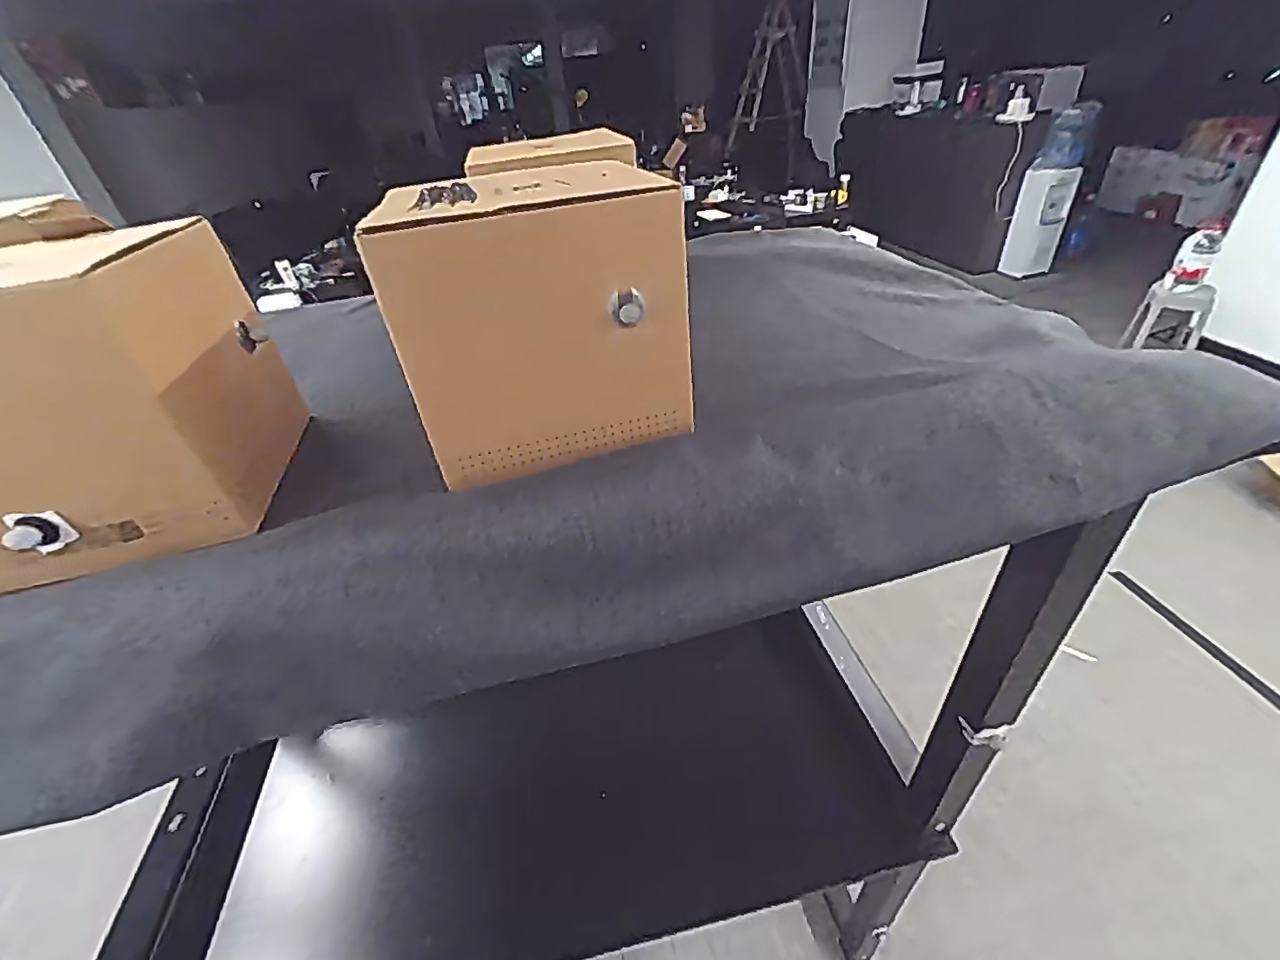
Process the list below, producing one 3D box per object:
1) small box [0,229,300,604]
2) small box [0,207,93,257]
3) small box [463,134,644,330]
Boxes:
[{"bbox_3d":[-0.356,-0.049,0.353,0.168,0.176,0.179,-15,36,-9],"label":"small box"},{"bbox_3d":[-0.656,-0.163,0.552,0.179,0.176,0.168,-12,37,-9],"label":"small box"},{"bbox_3d":[-0.096,-0.284,0.626,0.168,0.176,0.179,-12,37,-7],"label":"small box"}]
